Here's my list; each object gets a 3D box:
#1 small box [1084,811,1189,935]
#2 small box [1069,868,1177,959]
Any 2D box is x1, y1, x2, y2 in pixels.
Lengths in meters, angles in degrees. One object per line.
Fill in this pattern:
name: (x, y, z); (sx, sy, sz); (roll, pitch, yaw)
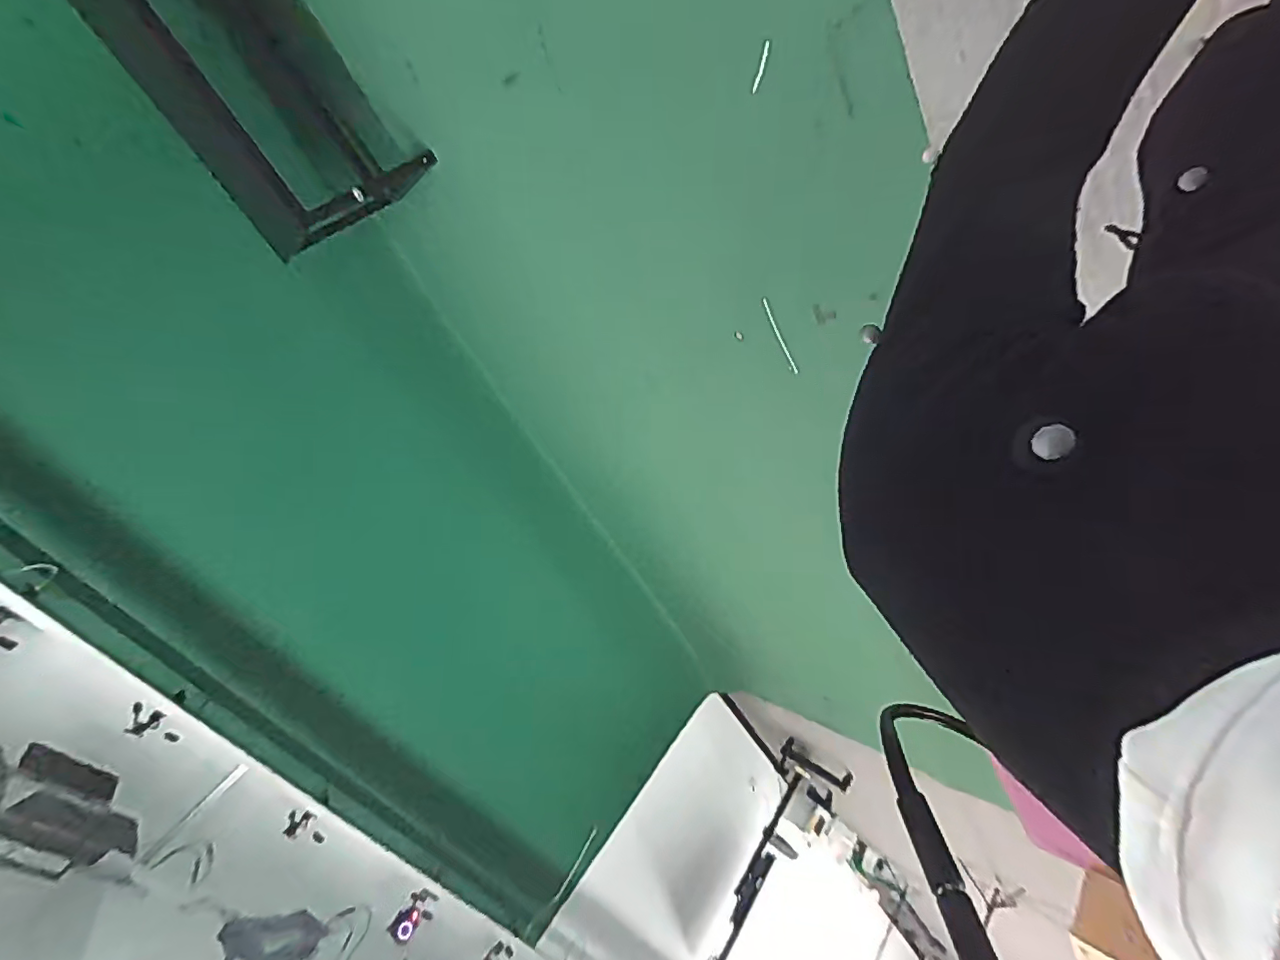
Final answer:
small box: (1.263, 0.985, 1.376); (0.179, 0.176, 0.168); (5, 134, 48)
small box: (1.158, 1.084, 1.295); (0.179, 0.176, 0.168); (5, 134, 48)
